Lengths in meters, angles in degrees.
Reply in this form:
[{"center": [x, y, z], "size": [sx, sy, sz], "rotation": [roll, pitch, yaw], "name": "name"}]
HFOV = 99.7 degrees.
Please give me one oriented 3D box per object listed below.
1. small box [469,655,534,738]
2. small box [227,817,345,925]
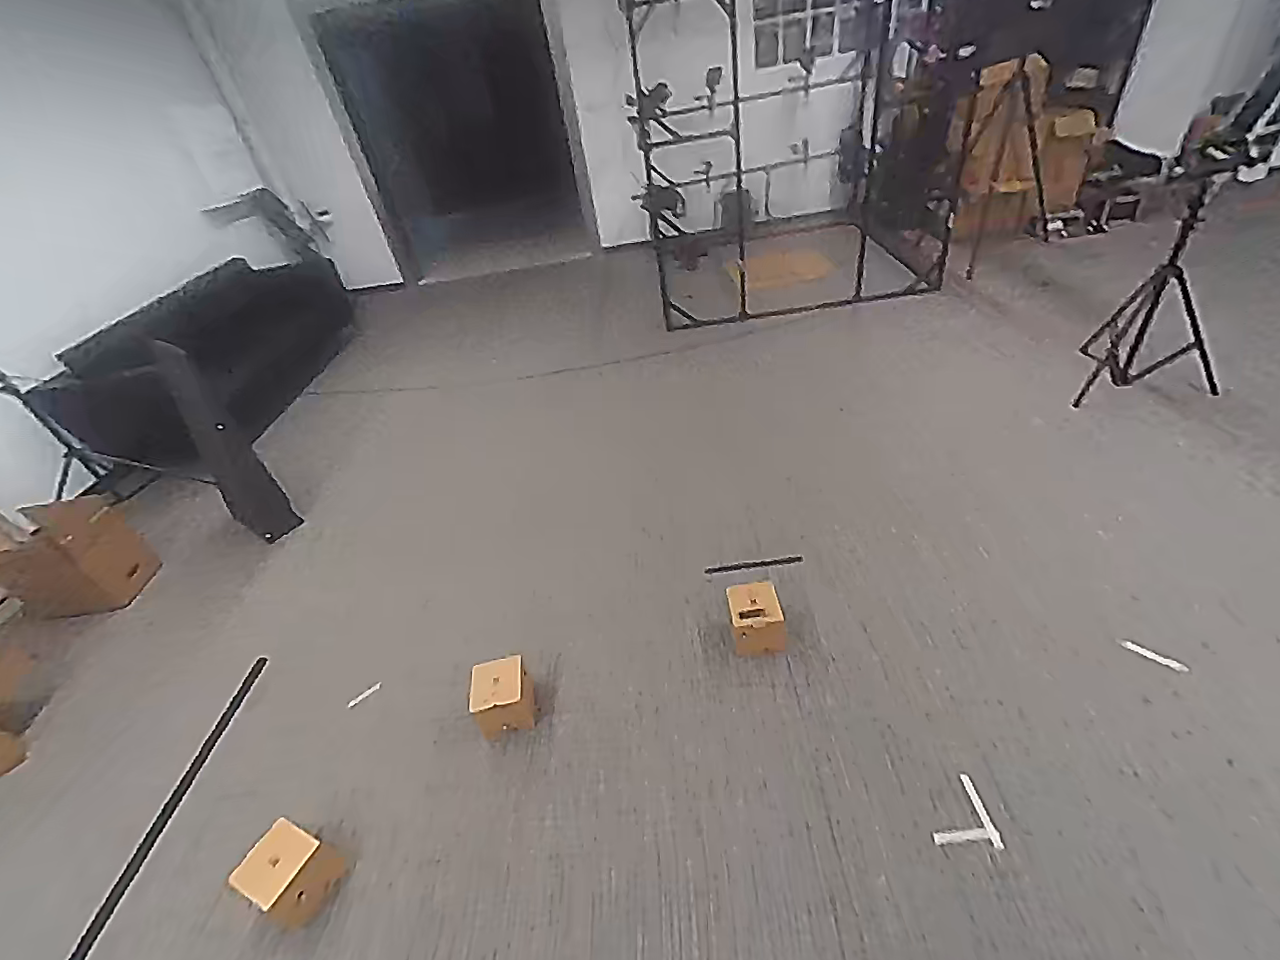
[{"center": [-0.453, 0.716, 1.788], "size": [0.168, 0.176, 0.179], "rotation": [-13, 38, -3], "name": "small box"}, {"center": [-0.948, 1.062, 1.464], "size": [0.179, 0.176, 0.168], "rotation": [10, 42, 25], "name": "small box"}]
